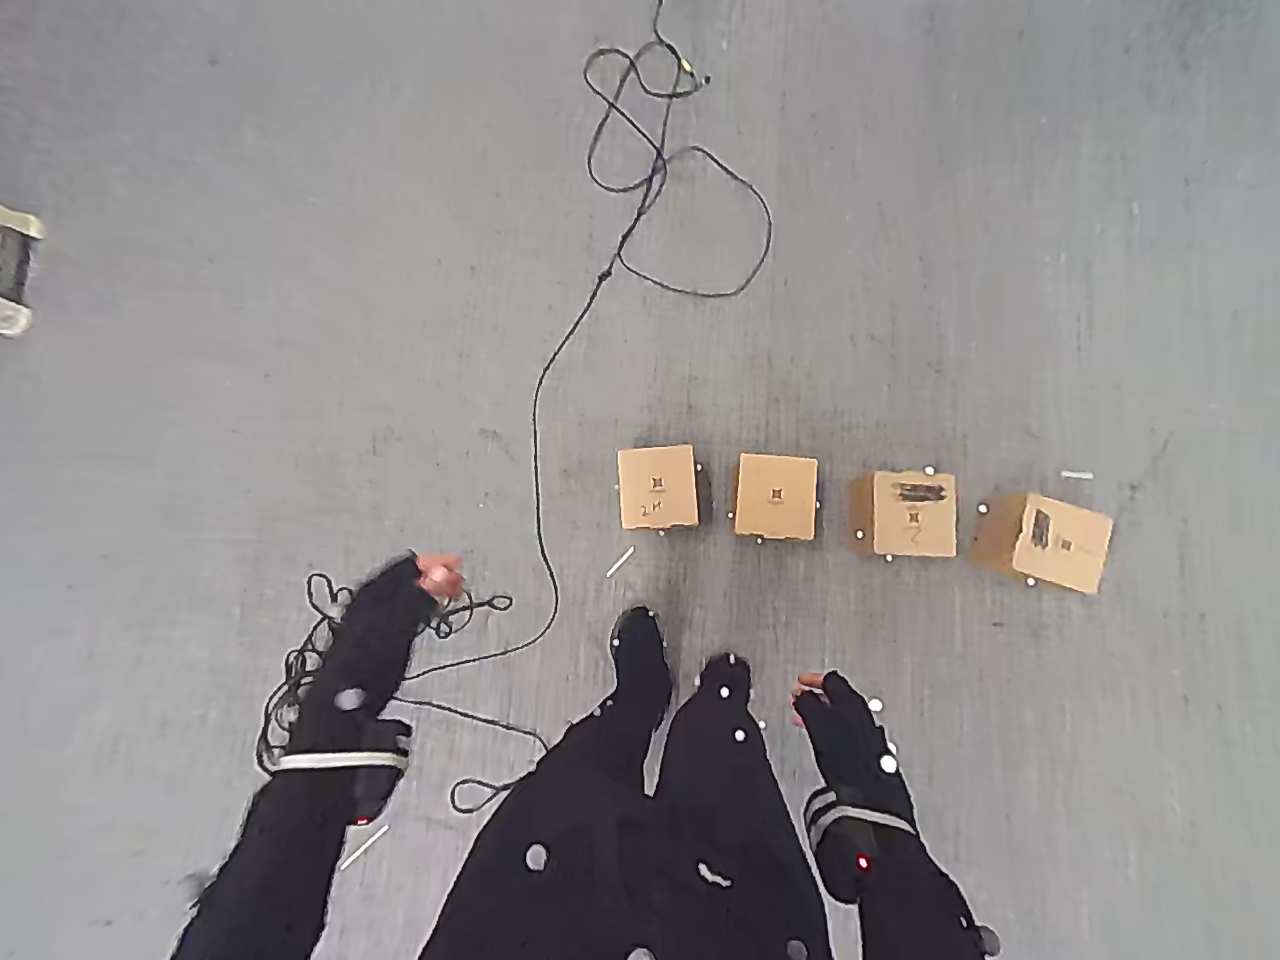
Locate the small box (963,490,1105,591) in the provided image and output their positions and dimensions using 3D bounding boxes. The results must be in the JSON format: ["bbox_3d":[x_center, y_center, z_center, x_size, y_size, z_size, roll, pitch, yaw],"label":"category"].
[{"bbox_3d":[0.849,0.134,1.183,0.179,0.176,0.168,19,85,4],"label":"small box"}]

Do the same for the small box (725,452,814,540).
[{"bbox_3d":[0.288,0.041,1.230,0.168,0.176,0.179,4,84,4],"label":"small box"}]

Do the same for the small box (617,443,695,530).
[{"bbox_3d":[0.037,0.021,1.245,0.168,0.176,0.179,-4,83,4],"label":"small box"}]
